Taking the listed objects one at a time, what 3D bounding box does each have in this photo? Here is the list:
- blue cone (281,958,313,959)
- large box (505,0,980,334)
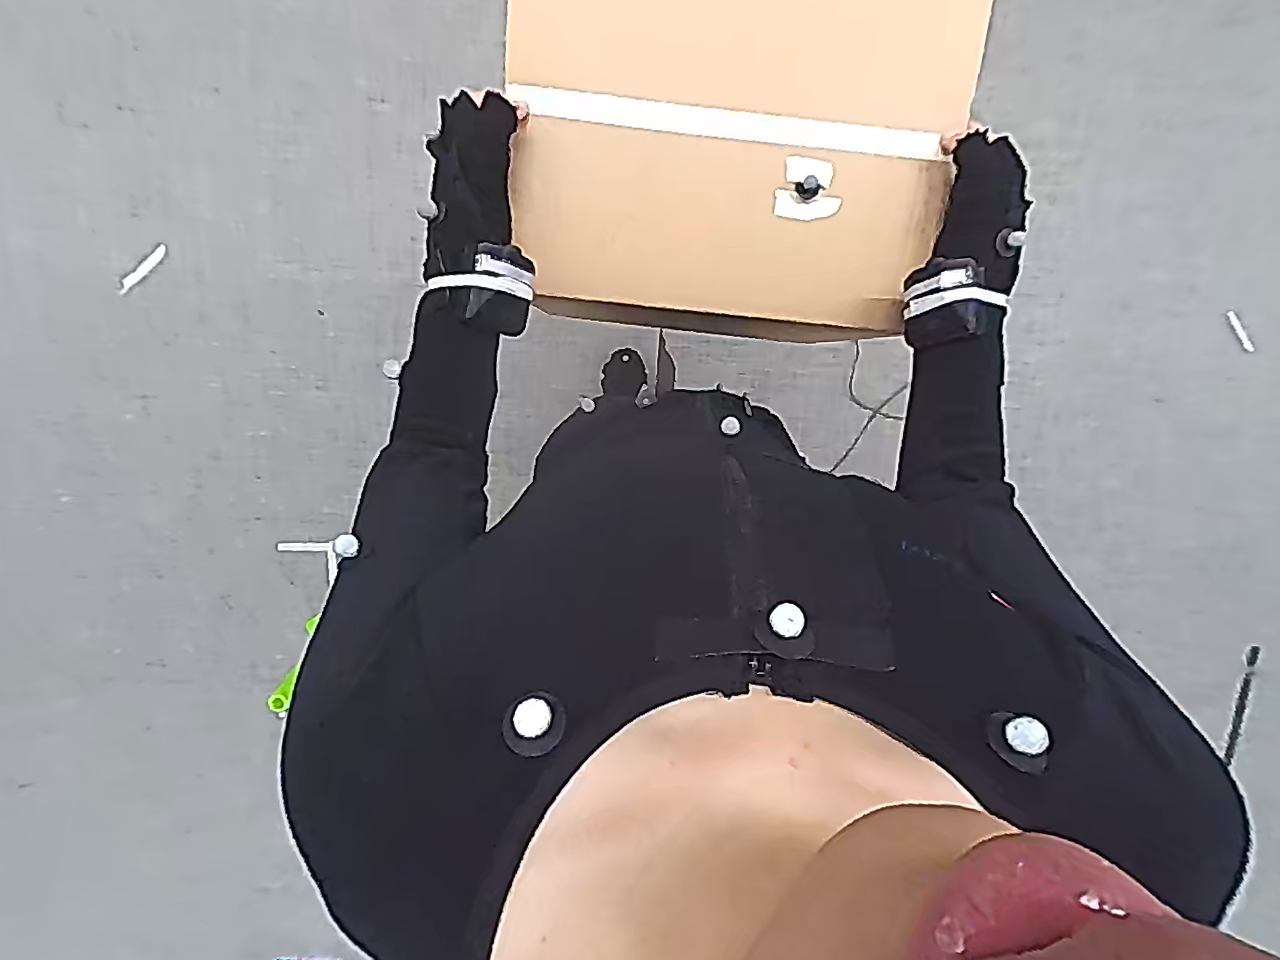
[{"bbox_3d":[-0.985,1.539,1.456,0.192,0.380,0.193,6,97,-3],"label":"blue cone"},{"bbox_3d":[0.077,-0.348,0.620,0.408,0.320,0.320,5,103,-4],"label":"large box"}]
